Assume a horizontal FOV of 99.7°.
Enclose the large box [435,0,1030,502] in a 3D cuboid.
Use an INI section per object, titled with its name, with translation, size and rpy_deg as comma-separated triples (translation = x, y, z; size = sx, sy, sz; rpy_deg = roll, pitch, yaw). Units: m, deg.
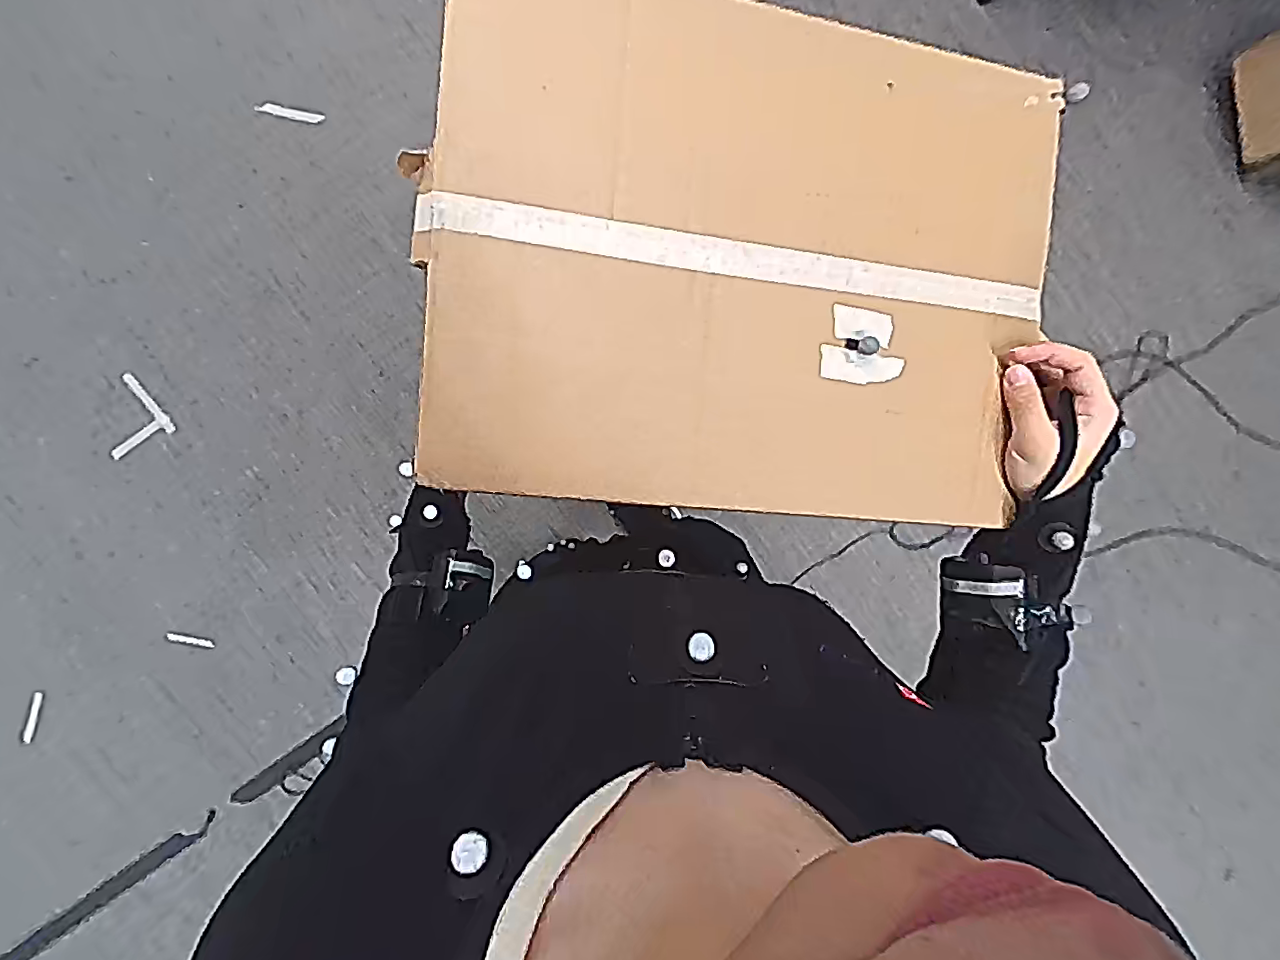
[large box]
translation = 0.046, -0.151, 0.496
size = 0.408, 0.320, 0.320
rpy_deg = 3, 93, -12
